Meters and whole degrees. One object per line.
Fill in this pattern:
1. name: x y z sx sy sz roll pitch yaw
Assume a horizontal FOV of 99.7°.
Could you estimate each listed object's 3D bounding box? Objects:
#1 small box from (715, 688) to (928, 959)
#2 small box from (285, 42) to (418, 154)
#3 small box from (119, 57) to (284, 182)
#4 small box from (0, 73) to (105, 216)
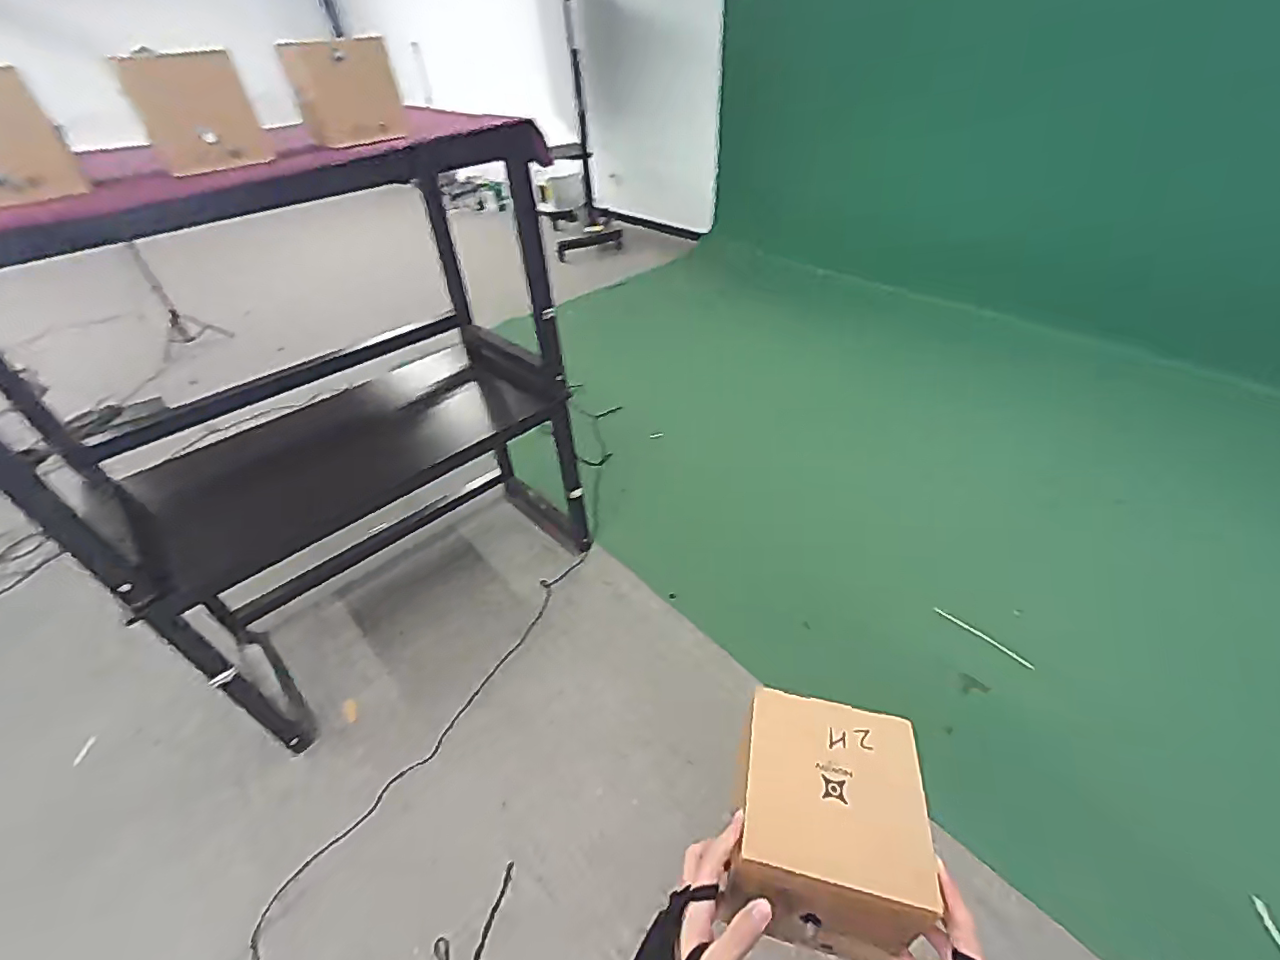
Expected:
1. small box: 0.175 0.358 0.566 0.168 0.176 0.179 10 36 10
2. small box: -0.590 -0.784 1.115 0.168 0.176 0.179 -32 46 -27
3. small box: -0.786 -0.651 0.978 0.168 0.176 0.179 -31 47 -28
4. small box: -0.992 -0.522 0.844 0.168 0.176 0.179 -31 47 -27
